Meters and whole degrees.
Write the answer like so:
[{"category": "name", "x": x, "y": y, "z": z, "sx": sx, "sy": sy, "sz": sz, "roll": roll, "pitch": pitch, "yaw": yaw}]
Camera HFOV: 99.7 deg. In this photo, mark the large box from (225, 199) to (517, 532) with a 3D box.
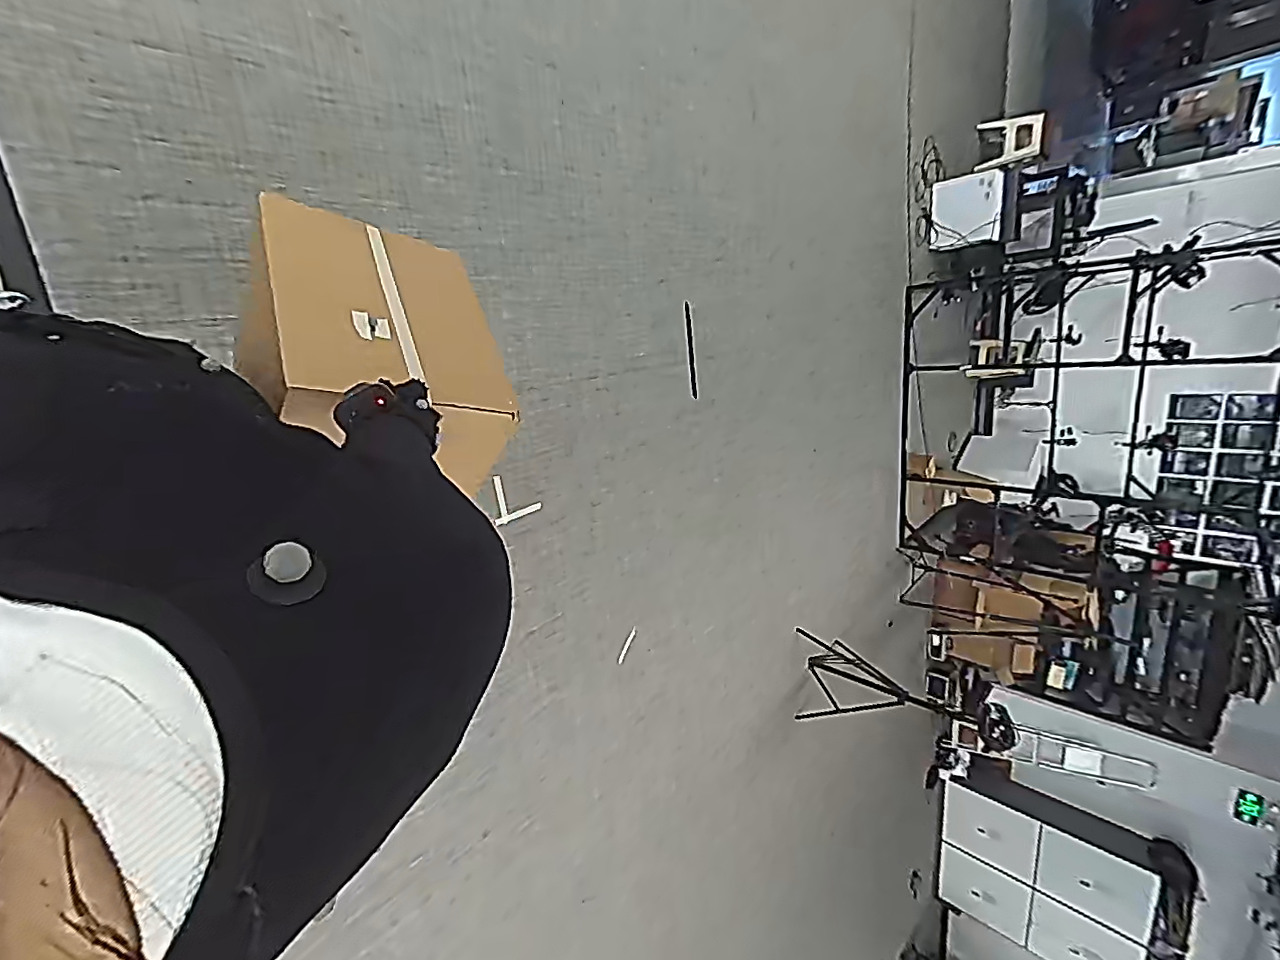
[{"category": "large box", "x": -0.464, "y": -0.166, "z": 0.899, "sx": 0.320, "sy": 0.320, "sz": 0.408, "roll": 1, "pitch": 54, "yaw": -44}]
